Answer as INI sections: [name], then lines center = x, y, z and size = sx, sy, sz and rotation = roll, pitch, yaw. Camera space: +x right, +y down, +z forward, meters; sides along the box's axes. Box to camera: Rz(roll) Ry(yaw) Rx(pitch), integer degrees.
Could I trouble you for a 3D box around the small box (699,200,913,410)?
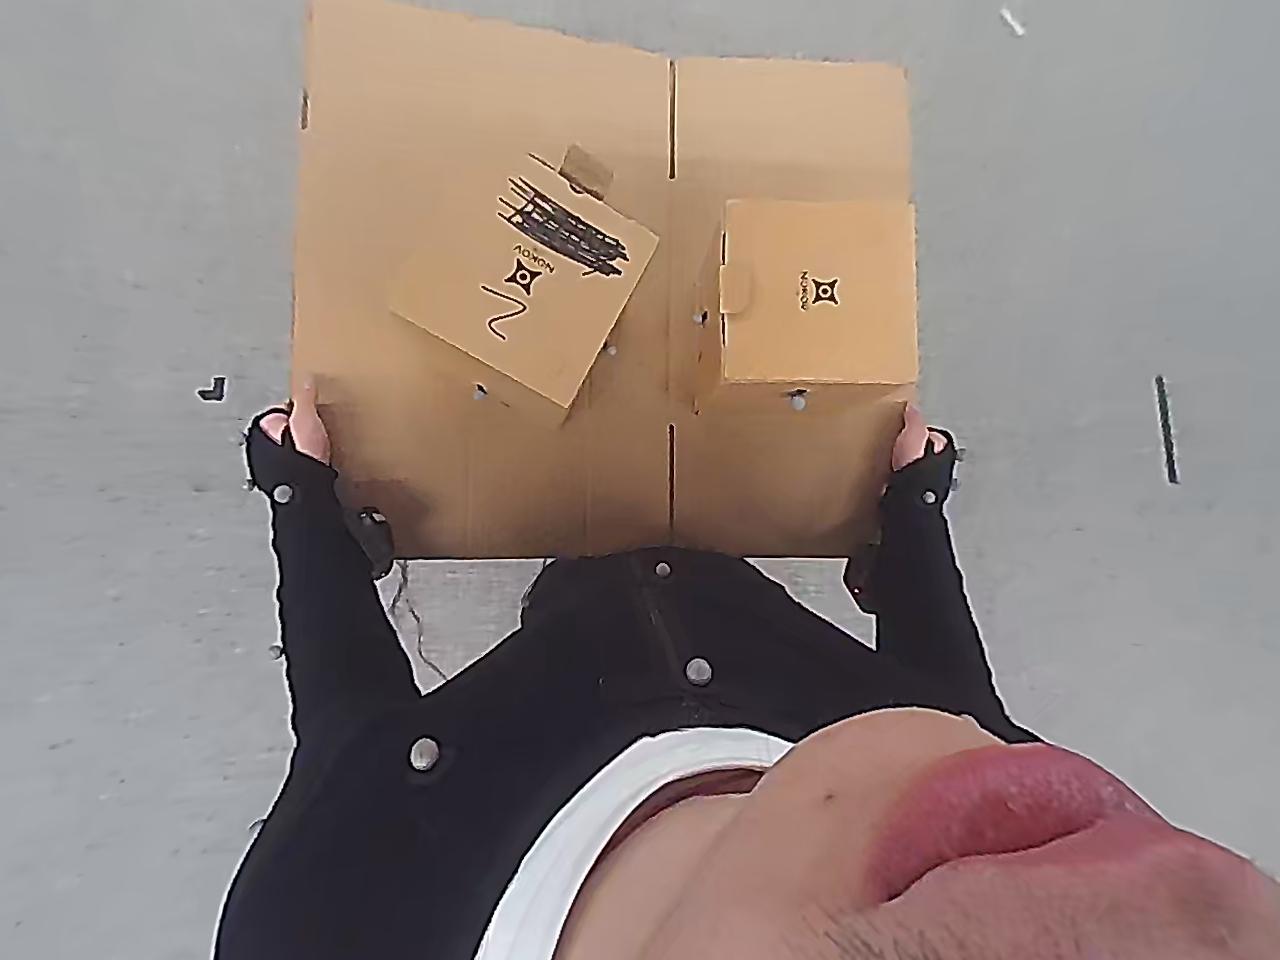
[small box]
center = 0.162, -0.171, 0.576
size = 0.179, 0.176, 0.168
rotation = 0, 87, -1
